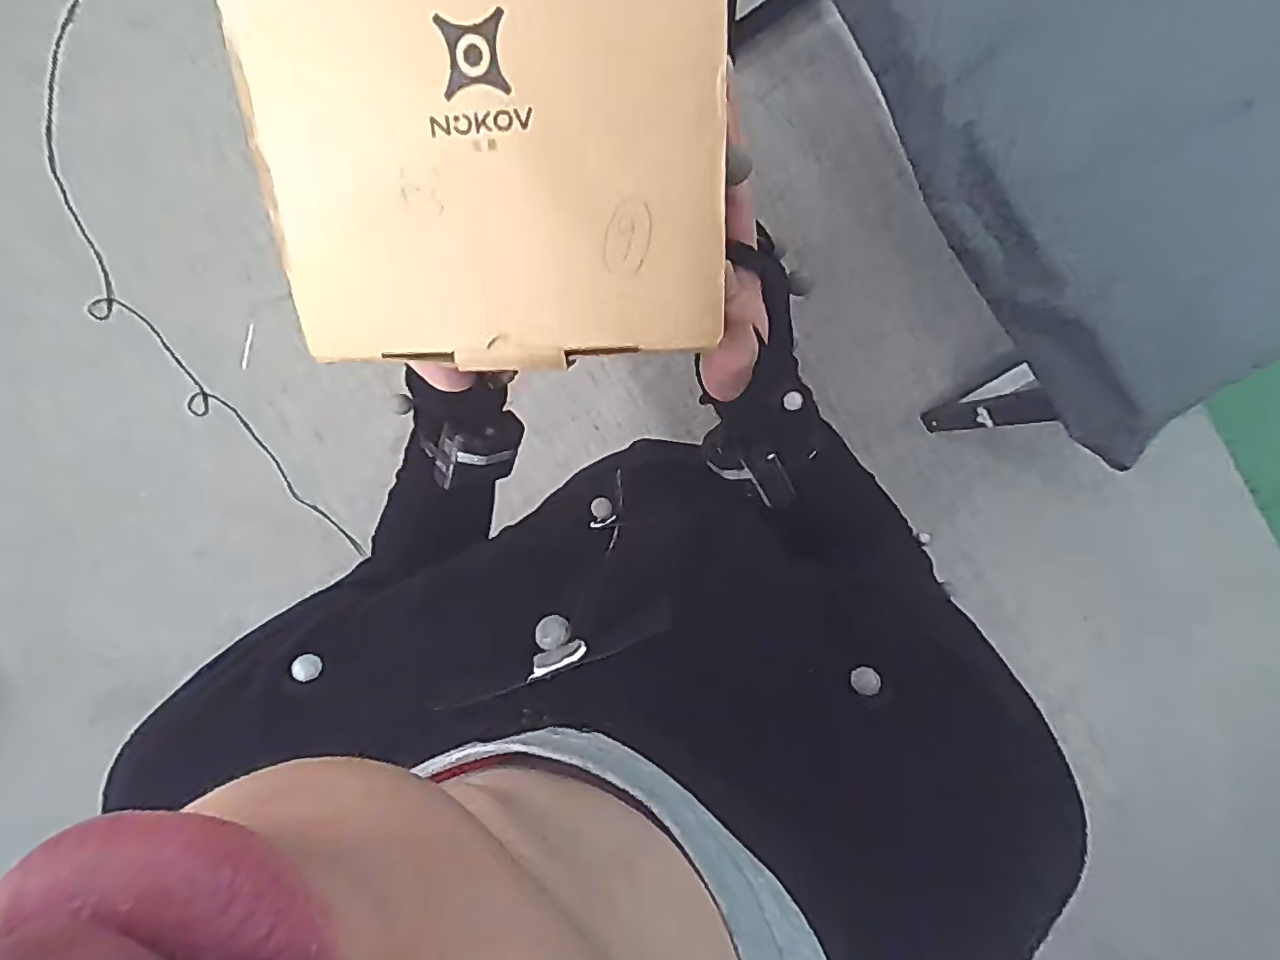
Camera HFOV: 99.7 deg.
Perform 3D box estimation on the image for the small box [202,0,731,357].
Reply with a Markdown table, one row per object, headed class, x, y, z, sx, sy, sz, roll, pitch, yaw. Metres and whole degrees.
| class | x | y | z | sx | sy | sz | roll | pitch | yaw |
| --- | --- | --- | --- | --- | --- | --- | --- | --- | --- |
| small box | -0.047 | -0.159 | 0.244 | 0.168 | 0.176 | 0.179 | -1 | 112 | 4 |
